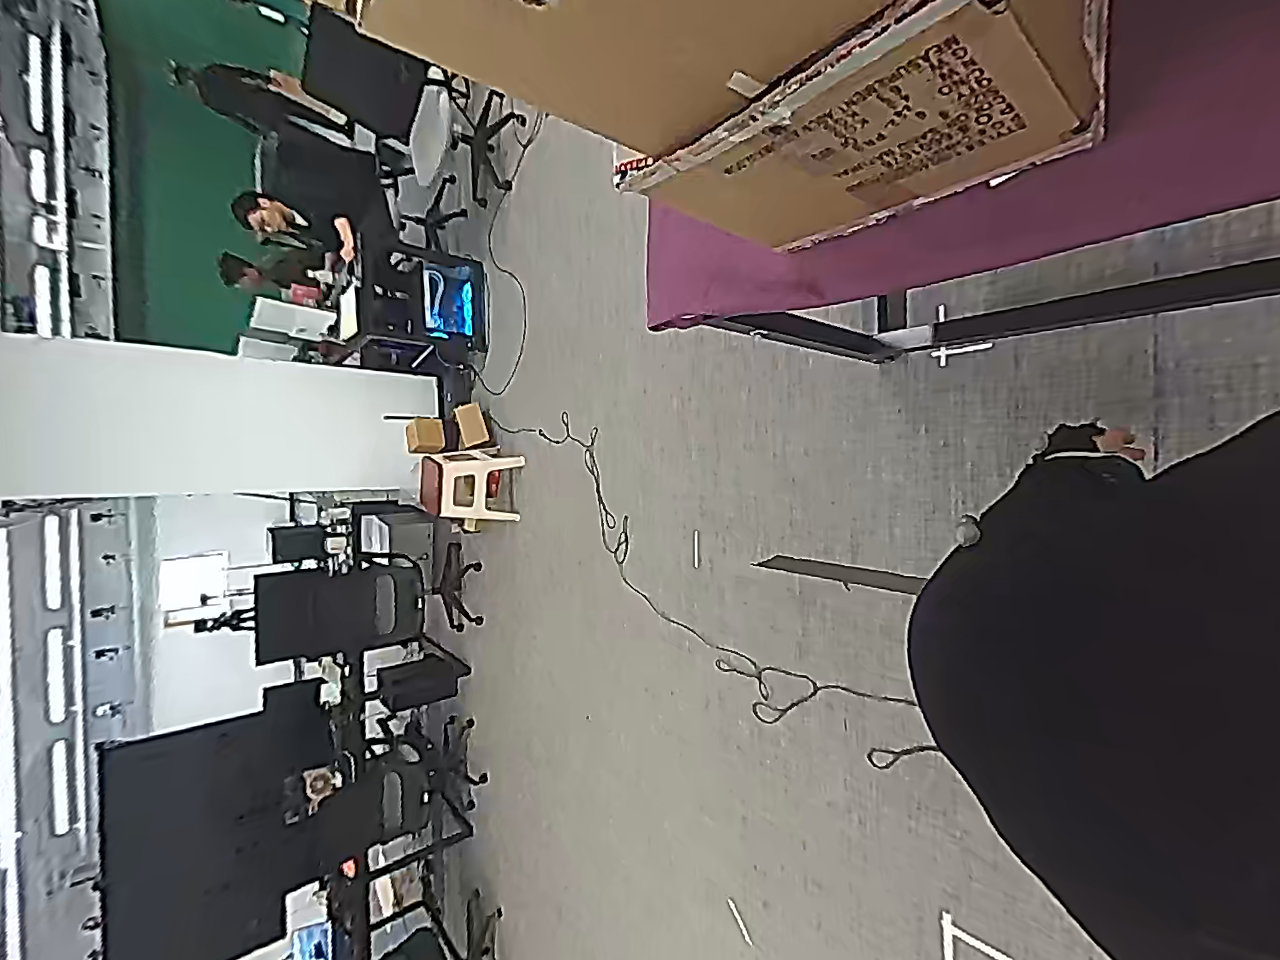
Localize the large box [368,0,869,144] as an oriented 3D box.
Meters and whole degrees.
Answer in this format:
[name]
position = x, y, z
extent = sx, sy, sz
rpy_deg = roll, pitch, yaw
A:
[large box]
position = -0.006, -0.559, 0.391
extent = 0.320, 0.320, 0.408
rpy_deg = 5, 96, 55
